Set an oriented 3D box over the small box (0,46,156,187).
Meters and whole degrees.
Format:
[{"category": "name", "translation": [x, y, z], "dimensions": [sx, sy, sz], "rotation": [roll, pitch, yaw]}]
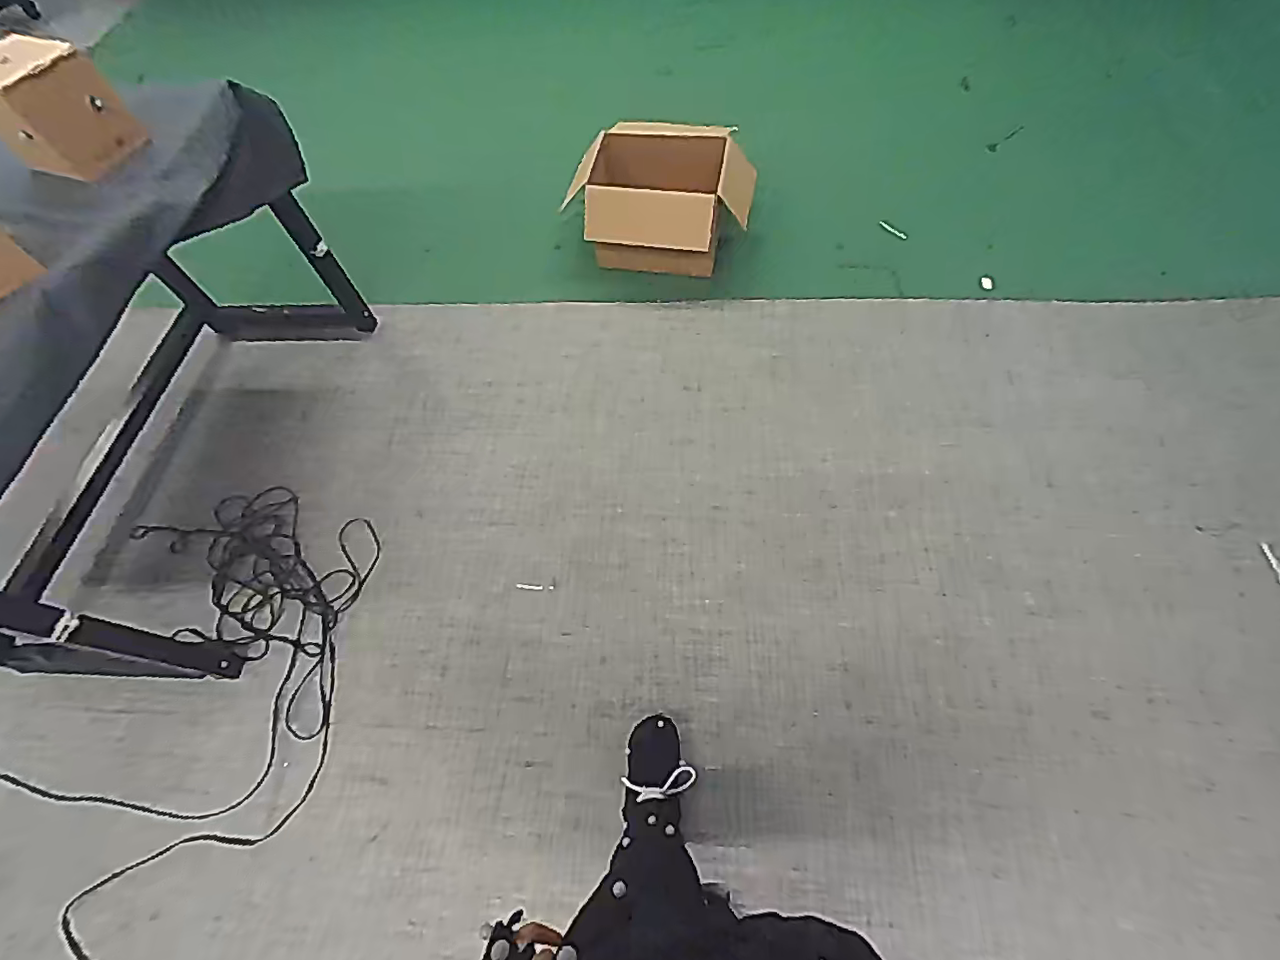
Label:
[{"category": "small box", "translation": [-1.121, -0.702, 1.053], "dimensions": [0.179, 0.176, 0.168], "rotation": [17, 62, 15]}]
